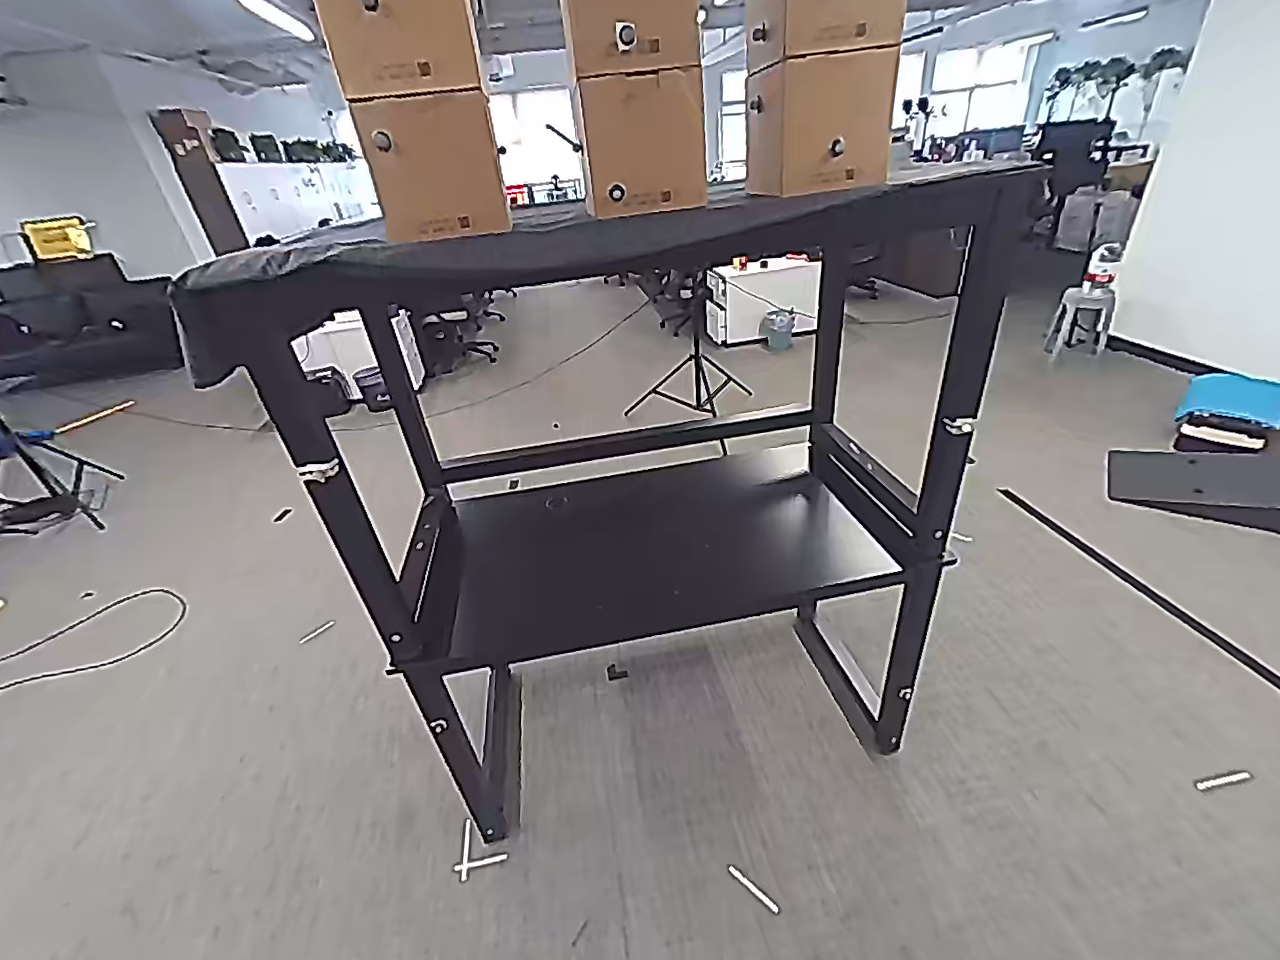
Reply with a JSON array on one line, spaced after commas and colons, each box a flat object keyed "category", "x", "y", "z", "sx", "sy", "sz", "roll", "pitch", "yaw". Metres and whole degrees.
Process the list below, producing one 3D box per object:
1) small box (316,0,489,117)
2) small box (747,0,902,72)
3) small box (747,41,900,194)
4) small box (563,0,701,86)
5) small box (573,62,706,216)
[{"category": "small box", "x": -0.300, "y": -0.584, "z": 0.695, "sx": 0.168, "sy": 0.176, "sz": 0.179, "roll": -10, "pitch": 29, "yaw": -5}, {"category": "small box", "x": 0.251, "y": -0.684, "z": 0.748, "sx": 0.168, "sy": 0.176, "sz": 0.179, "roll": -9, "pitch": 31, "yaw": -3}, {"category": "small box", "x": 0.267, "y": -0.543, "z": 0.830, "sx": 0.168, "sy": 0.176, "sz": 0.179, "roll": -10, "pitch": 31, "yaw": -3}, {"category": "small box", "x": -0.018, "y": -0.637, "z": 0.727, "sx": 0.168, "sy": 0.176, "sz": 0.179, "roll": -10, "pitch": 31, "yaw": -4}, {"category": "small box", "x": -0.003, "y": -0.496, "z": 0.806, "sx": 0.168, "sy": 0.176, "sz": 0.179, "roll": -10, "pitch": 29, "yaw": -5}]
